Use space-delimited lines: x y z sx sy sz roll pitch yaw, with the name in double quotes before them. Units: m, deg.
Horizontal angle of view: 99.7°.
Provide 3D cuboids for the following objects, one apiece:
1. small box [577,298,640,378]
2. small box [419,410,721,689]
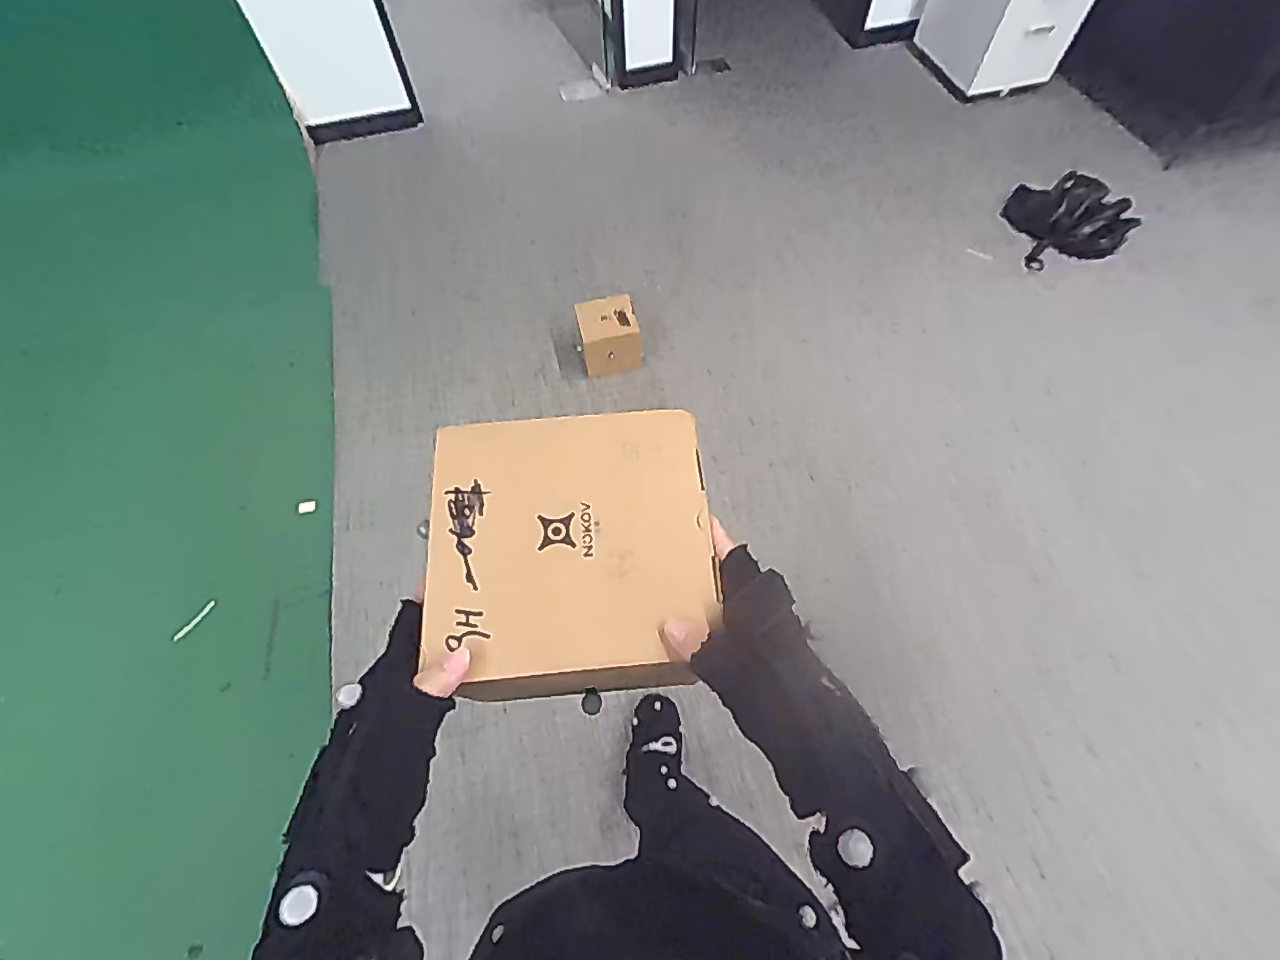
"small box" -0.096 -0.447 1.713 0.179 0.176 0.168 -10 60 -3
"small box" -0.047 0.062 0.414 0.179 0.176 0.168 -4 64 -4
